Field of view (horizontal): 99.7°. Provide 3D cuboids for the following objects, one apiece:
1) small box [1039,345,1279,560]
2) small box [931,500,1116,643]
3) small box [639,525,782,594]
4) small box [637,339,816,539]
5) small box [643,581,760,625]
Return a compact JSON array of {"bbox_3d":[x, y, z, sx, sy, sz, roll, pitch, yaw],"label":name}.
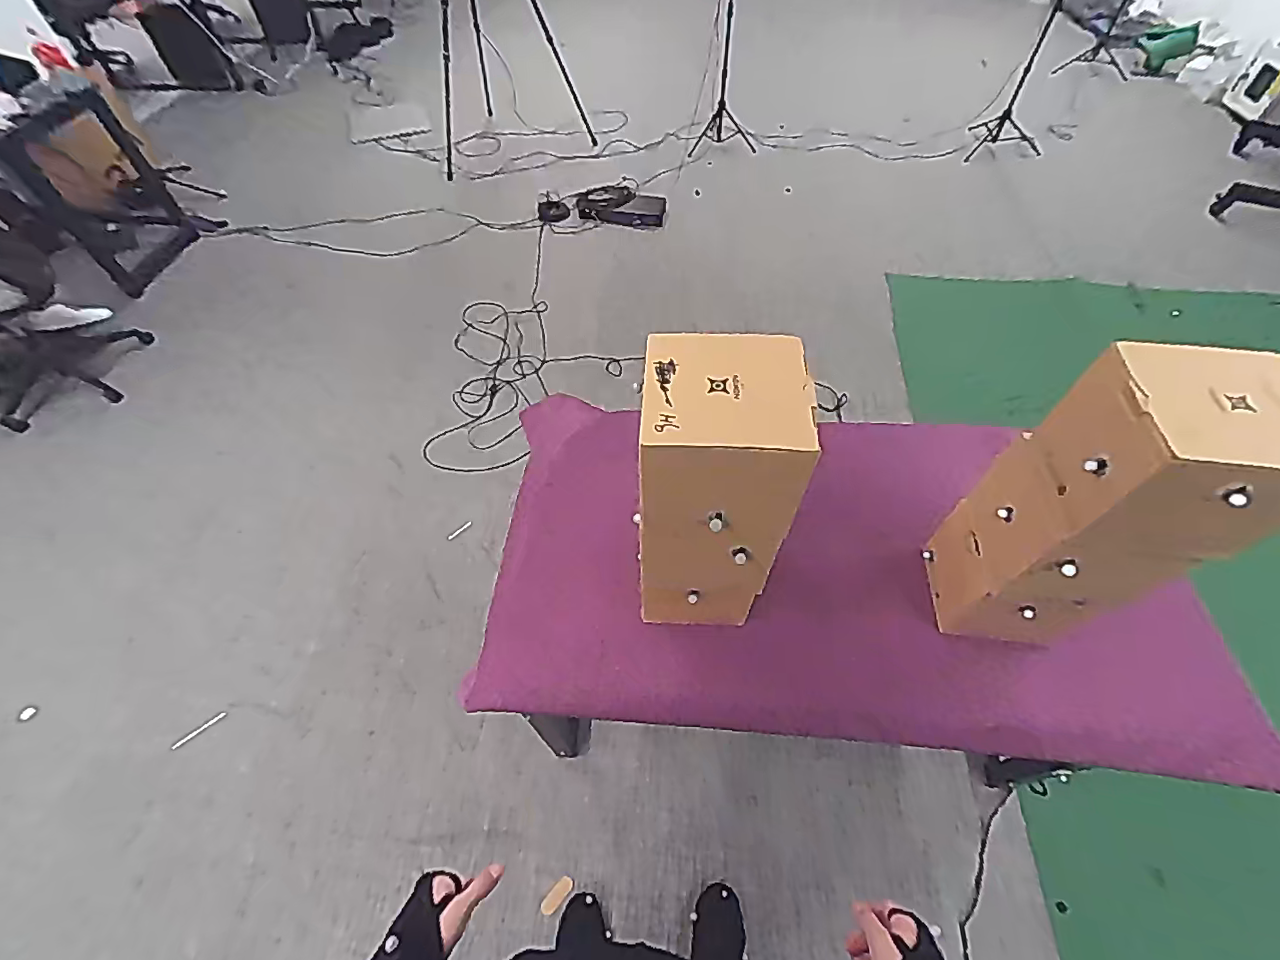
[{"bbox_3d":[0.584,-0.026,0.599,0.179,0.176,0.168,7,55,7],"label":"small box"},{"bbox_3d":[0.595,0.152,0.874,0.179,0.176,0.168,5,54,6],"label":"small box"},{"bbox_3d":[0.094,0.051,0.766,0.179,0.176,0.168,2,54,4],"label":"small box"},{"bbox_3d":[0.090,-0.042,0.632,0.179,0.176,0.168,3,54,3],"label":"small box"},{"bbox_3d":[0.098,0.136,0.909,0.179,0.176,0.168,1,54,4],"label":"small box"}]
